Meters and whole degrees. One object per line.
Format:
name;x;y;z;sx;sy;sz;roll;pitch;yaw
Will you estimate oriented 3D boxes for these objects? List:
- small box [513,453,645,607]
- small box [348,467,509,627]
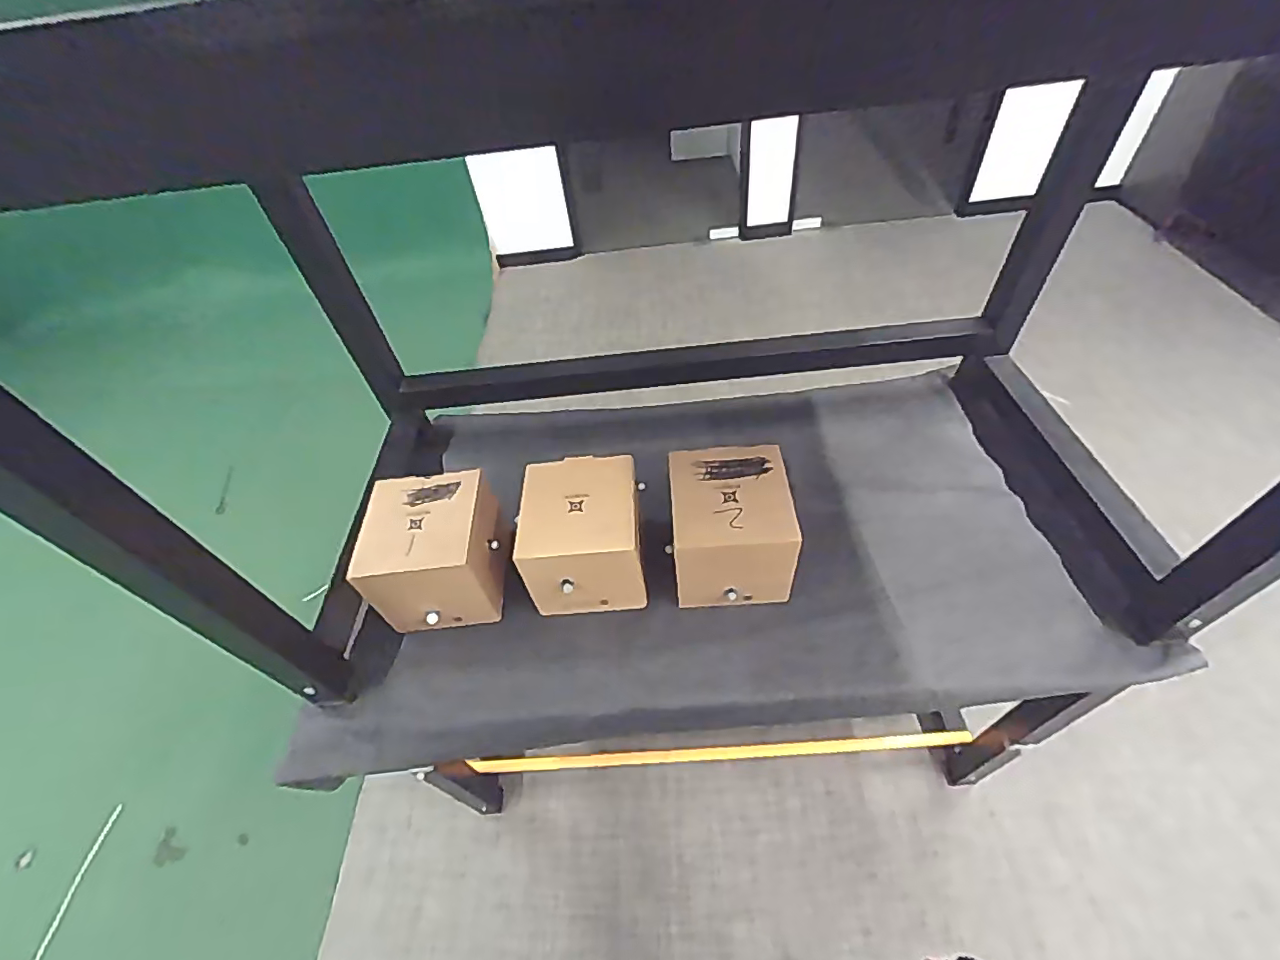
small box;-0.082;0.083;0.827;0.168;0.176;0.179;-4;48;3
small box;-0.308;0.105;0.834;0.168;0.176;0.179;-7;49;2
